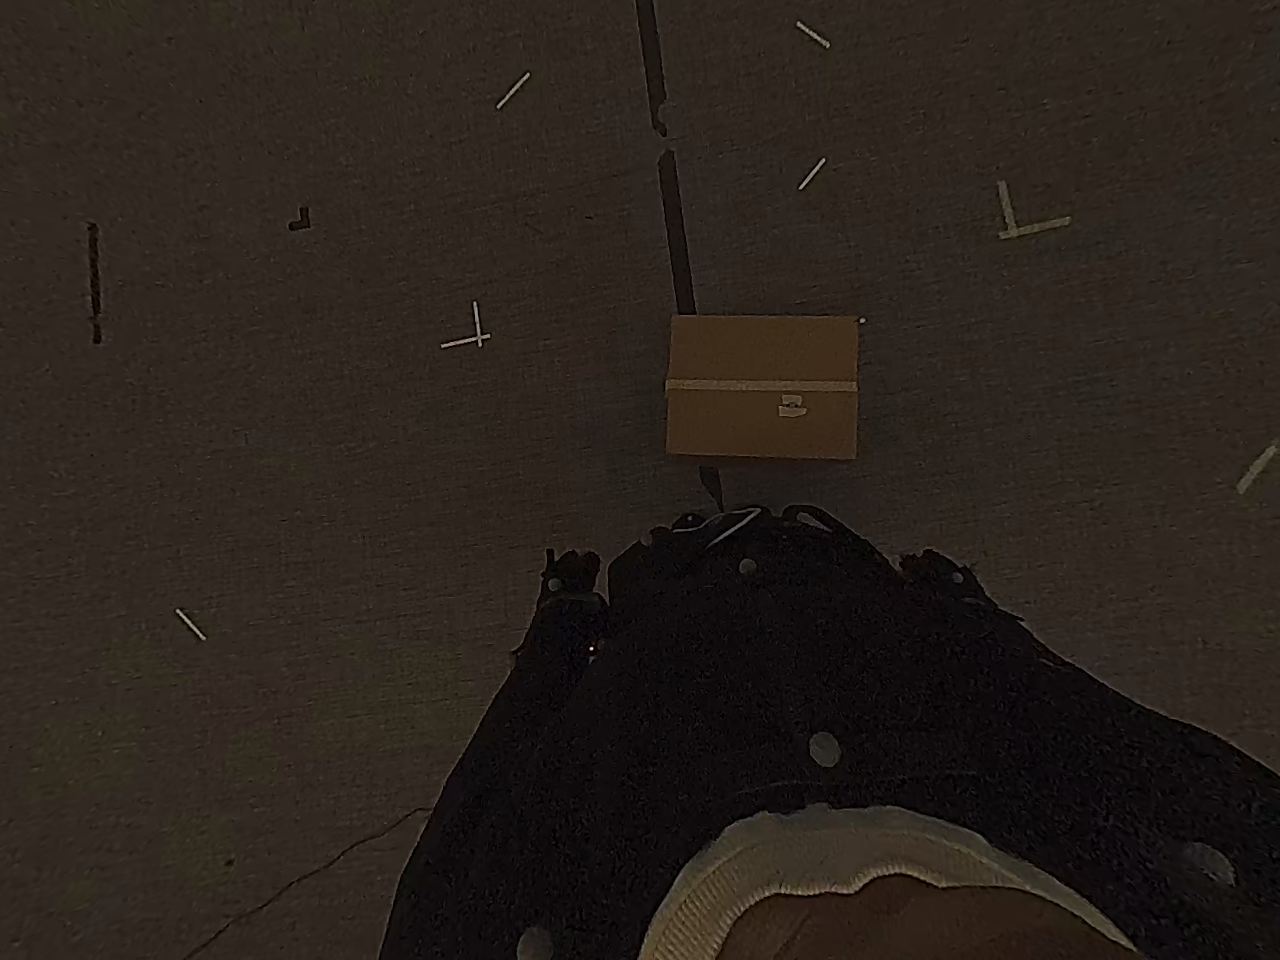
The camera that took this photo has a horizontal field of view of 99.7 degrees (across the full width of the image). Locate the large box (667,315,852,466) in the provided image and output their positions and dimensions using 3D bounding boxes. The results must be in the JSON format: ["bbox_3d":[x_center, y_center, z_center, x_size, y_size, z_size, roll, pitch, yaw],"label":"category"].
[{"bbox_3d":[0.276,-0.203,1.338,0.408,0.320,0.320,2,88,6],"label":"large box"}]
